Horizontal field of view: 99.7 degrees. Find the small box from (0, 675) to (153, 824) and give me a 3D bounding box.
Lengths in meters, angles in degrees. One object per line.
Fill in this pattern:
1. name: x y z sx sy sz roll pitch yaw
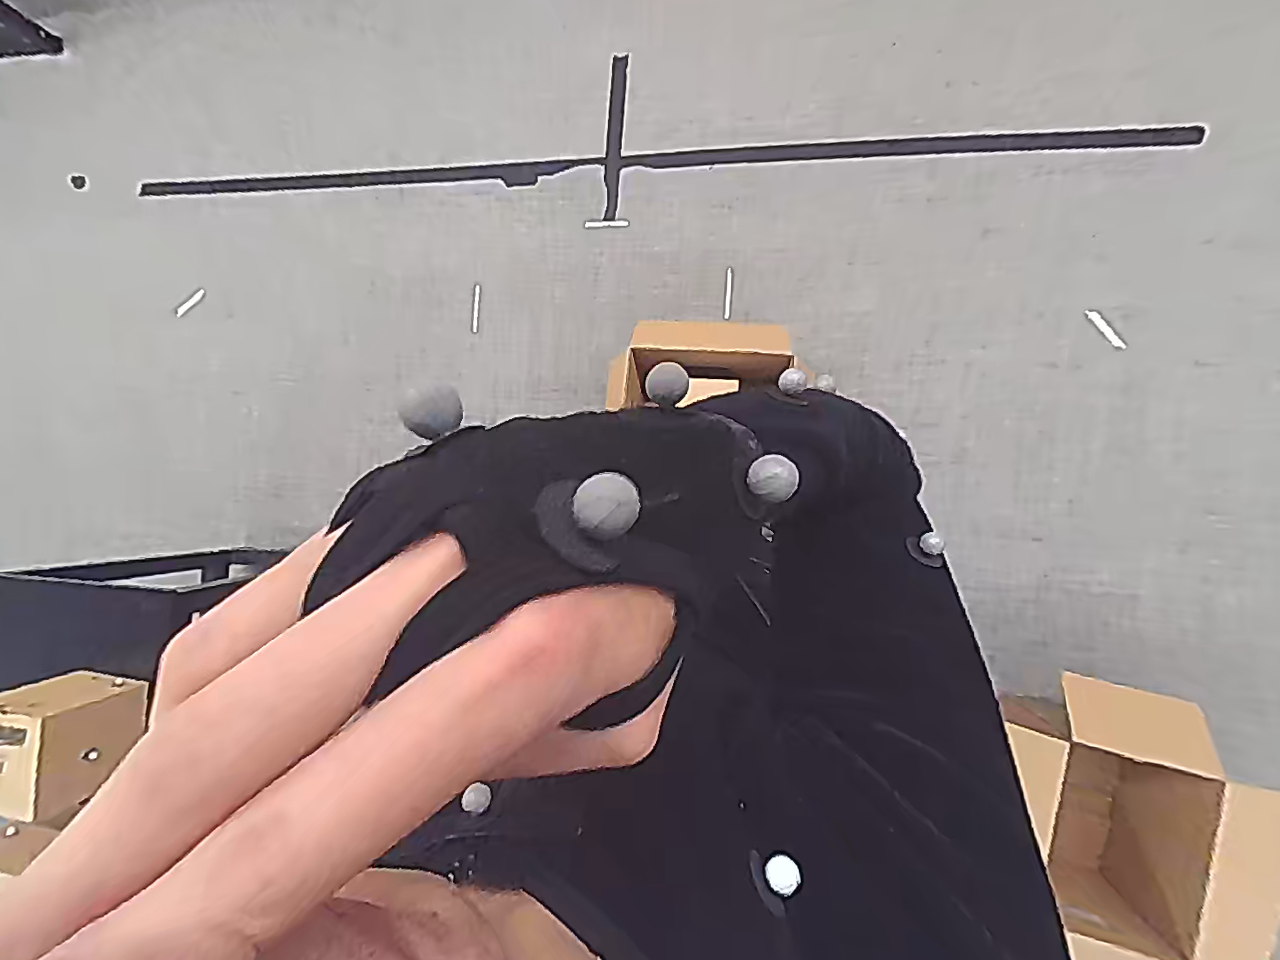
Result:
1. small box: -1.036 0.473 0.979 0.168 0.176 0.179 5 91 10
